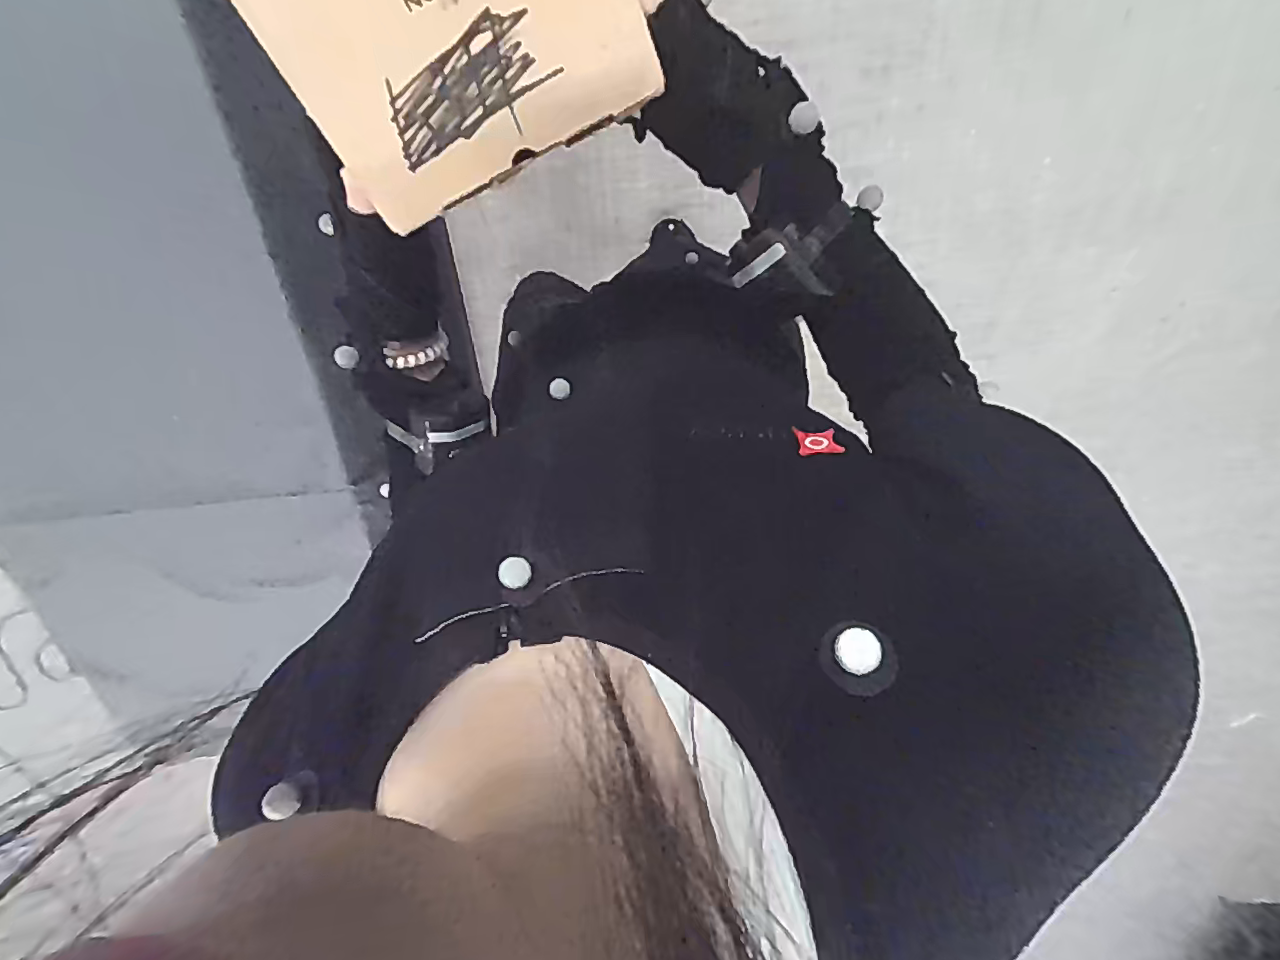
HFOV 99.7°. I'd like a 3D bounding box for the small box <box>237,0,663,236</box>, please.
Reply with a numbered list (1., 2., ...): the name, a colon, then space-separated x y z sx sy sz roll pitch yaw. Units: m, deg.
1. small box: -0.105 -0.272 0.300 0.168 0.176 0.179 -25 127 6
